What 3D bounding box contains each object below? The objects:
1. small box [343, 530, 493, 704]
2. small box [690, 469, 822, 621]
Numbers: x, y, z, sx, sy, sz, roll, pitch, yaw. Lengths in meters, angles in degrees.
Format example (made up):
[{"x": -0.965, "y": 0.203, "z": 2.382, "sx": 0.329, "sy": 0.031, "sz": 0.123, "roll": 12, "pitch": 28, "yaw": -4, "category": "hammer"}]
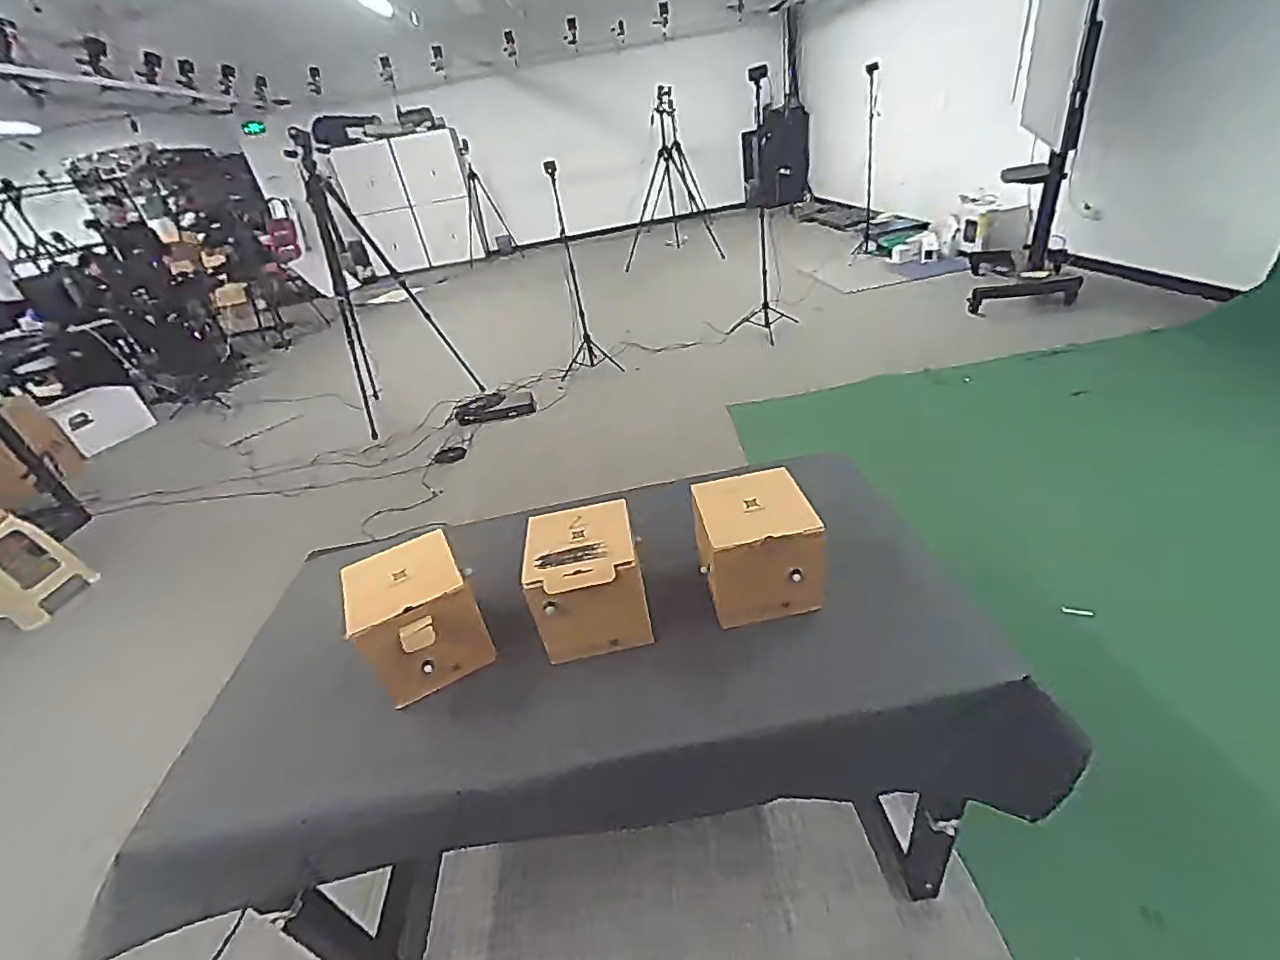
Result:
[{"x": -0.354, "y": 0.215, "z": 0.866, "sx": 0.168, "sy": 0.176, "sz": 0.179, "roll": -23, "pitch": 35, "yaw": -20, "category": "small box"}, {"x": 0.184, "y": 0.109, "z": 0.874, "sx": 0.168, "sy": 0.176, "sz": 0.179, "roll": -10, "pitch": 31, "yaw": -1, "category": "small box"}]
